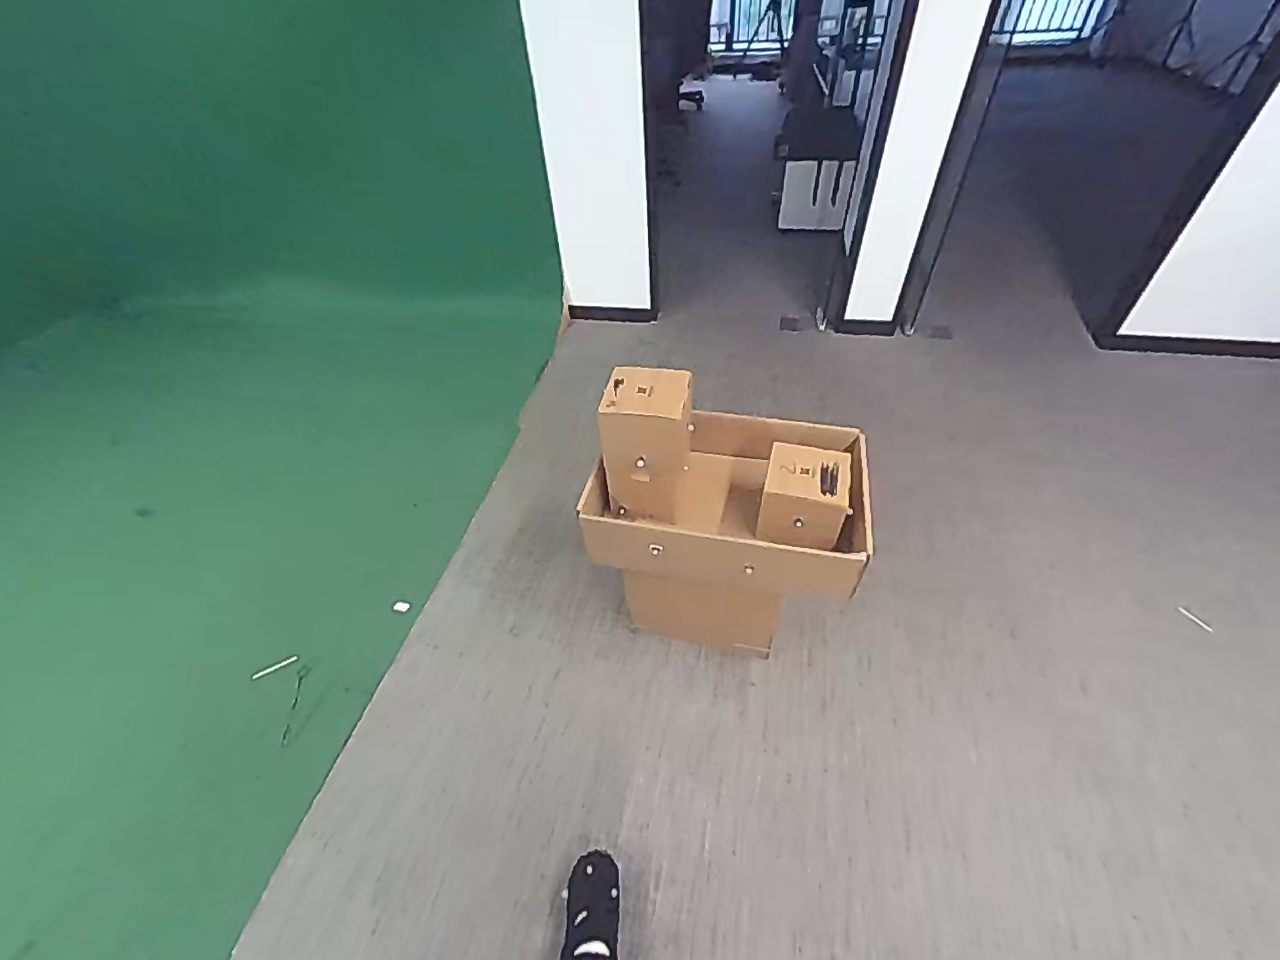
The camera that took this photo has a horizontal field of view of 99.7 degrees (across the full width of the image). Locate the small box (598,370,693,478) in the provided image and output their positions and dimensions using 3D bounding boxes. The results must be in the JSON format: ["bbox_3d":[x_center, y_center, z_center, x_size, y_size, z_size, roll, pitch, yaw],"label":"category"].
[{"bbox_3d":[0.018,-0.122,1.199,0.179,0.176,0.168,7,46,10],"label":"small box"}]
